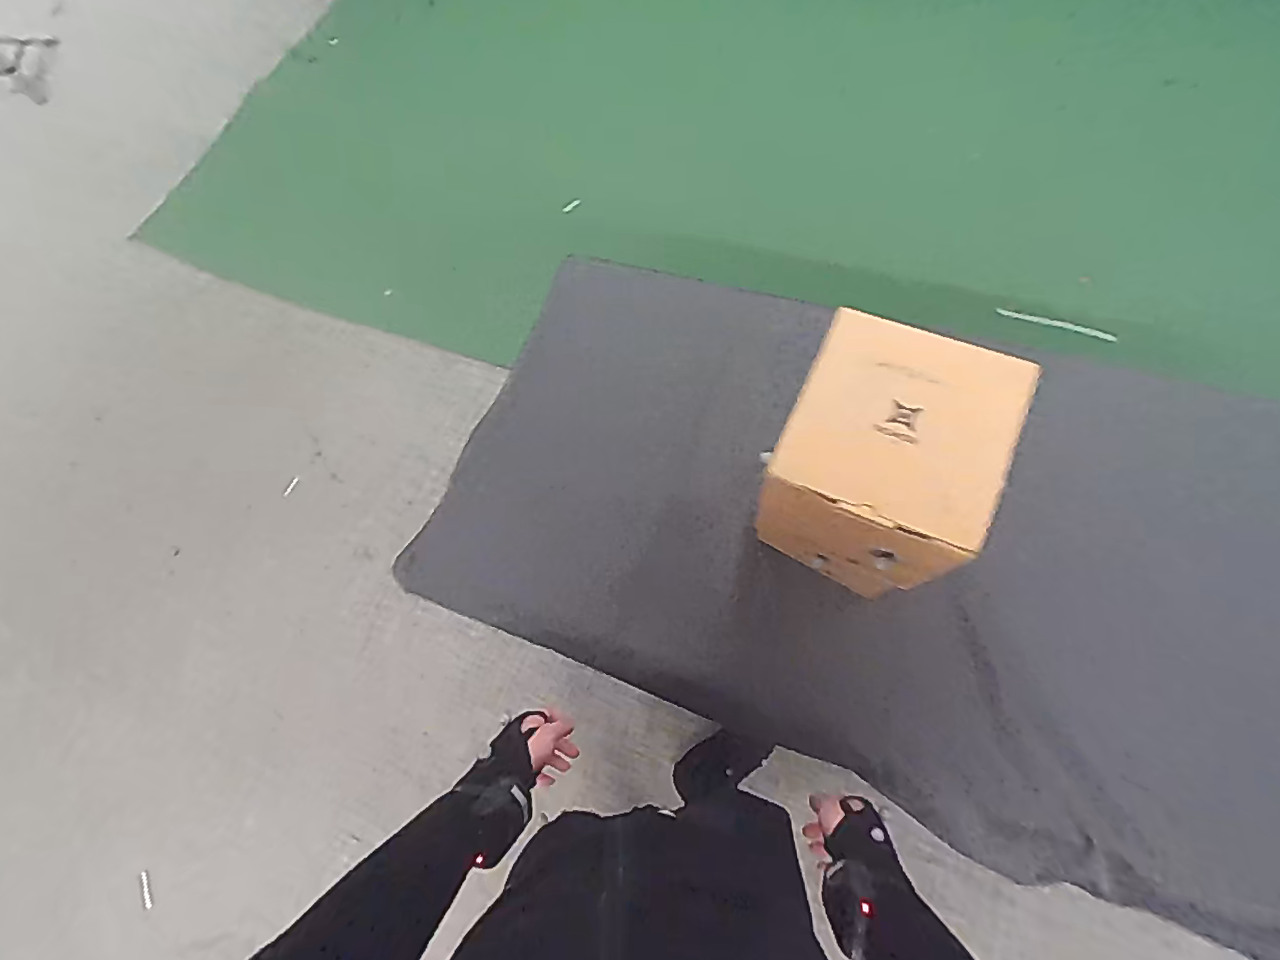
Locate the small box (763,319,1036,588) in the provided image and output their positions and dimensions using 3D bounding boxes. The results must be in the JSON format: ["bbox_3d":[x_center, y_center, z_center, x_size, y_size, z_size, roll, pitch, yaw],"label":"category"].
[{"bbox_3d":[0.225,-0.014,0.516,0.168,0.176,0.179,23,74,14],"label":"small box"}]

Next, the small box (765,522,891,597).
[{"bbox_3d":[0.267,0.027,0.671,0.168,0.176,0.179,29,77,17],"label":"small box"}]
